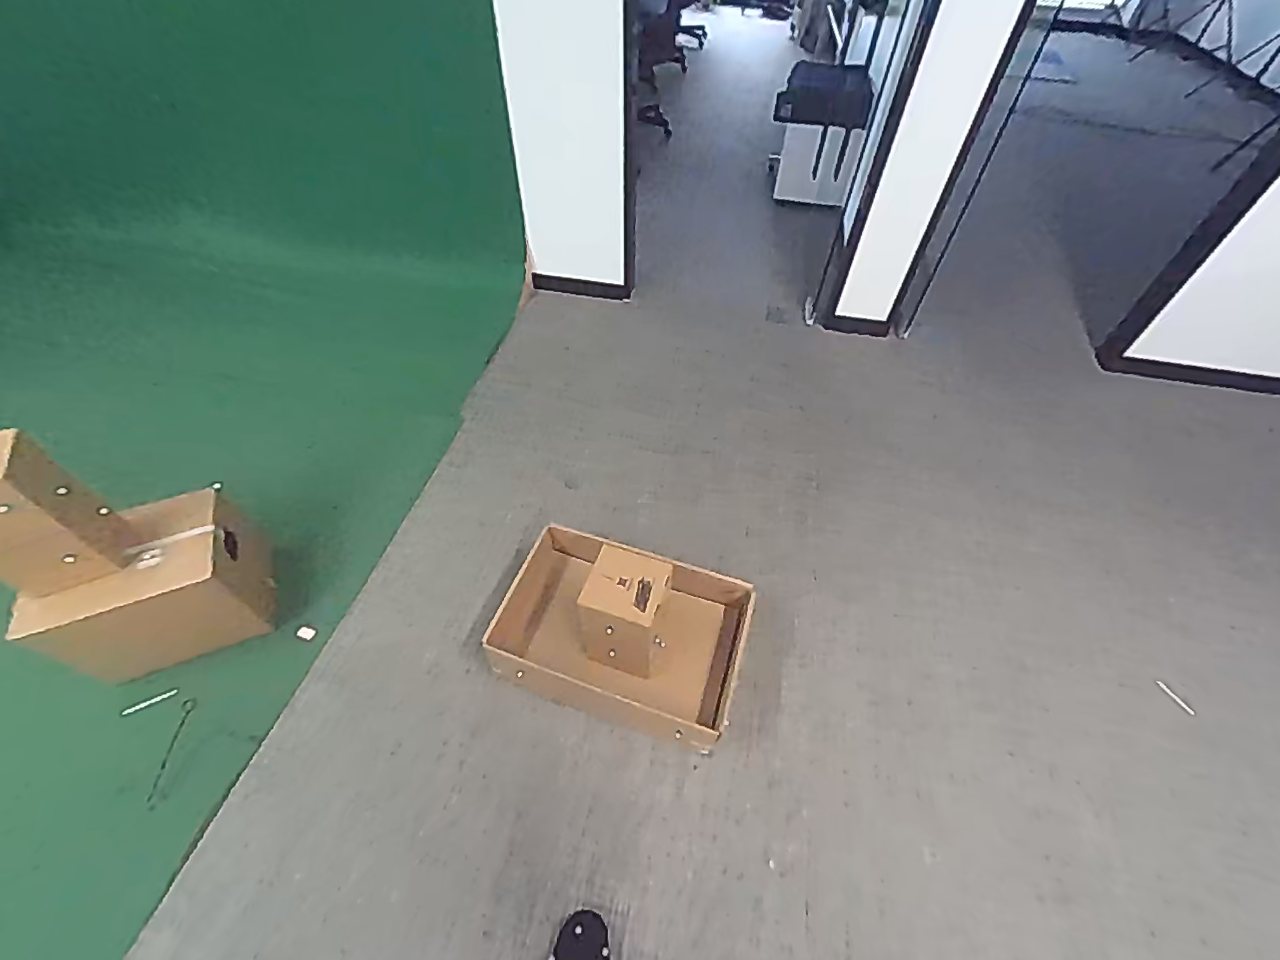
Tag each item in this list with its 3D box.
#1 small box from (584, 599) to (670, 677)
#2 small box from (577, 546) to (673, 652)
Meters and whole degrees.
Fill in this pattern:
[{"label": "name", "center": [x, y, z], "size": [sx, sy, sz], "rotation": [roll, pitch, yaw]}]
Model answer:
[{"label": "small box", "center": [-0.031, 0.390, 1.412], "size": [0.179, 0.176, 0.168], "rotation": [15, 53, 11]}, {"label": "small box", "center": [-0.031, 0.288, 1.283], "size": [0.179, 0.176, 0.168], "rotation": [15, 52, 13]}]
